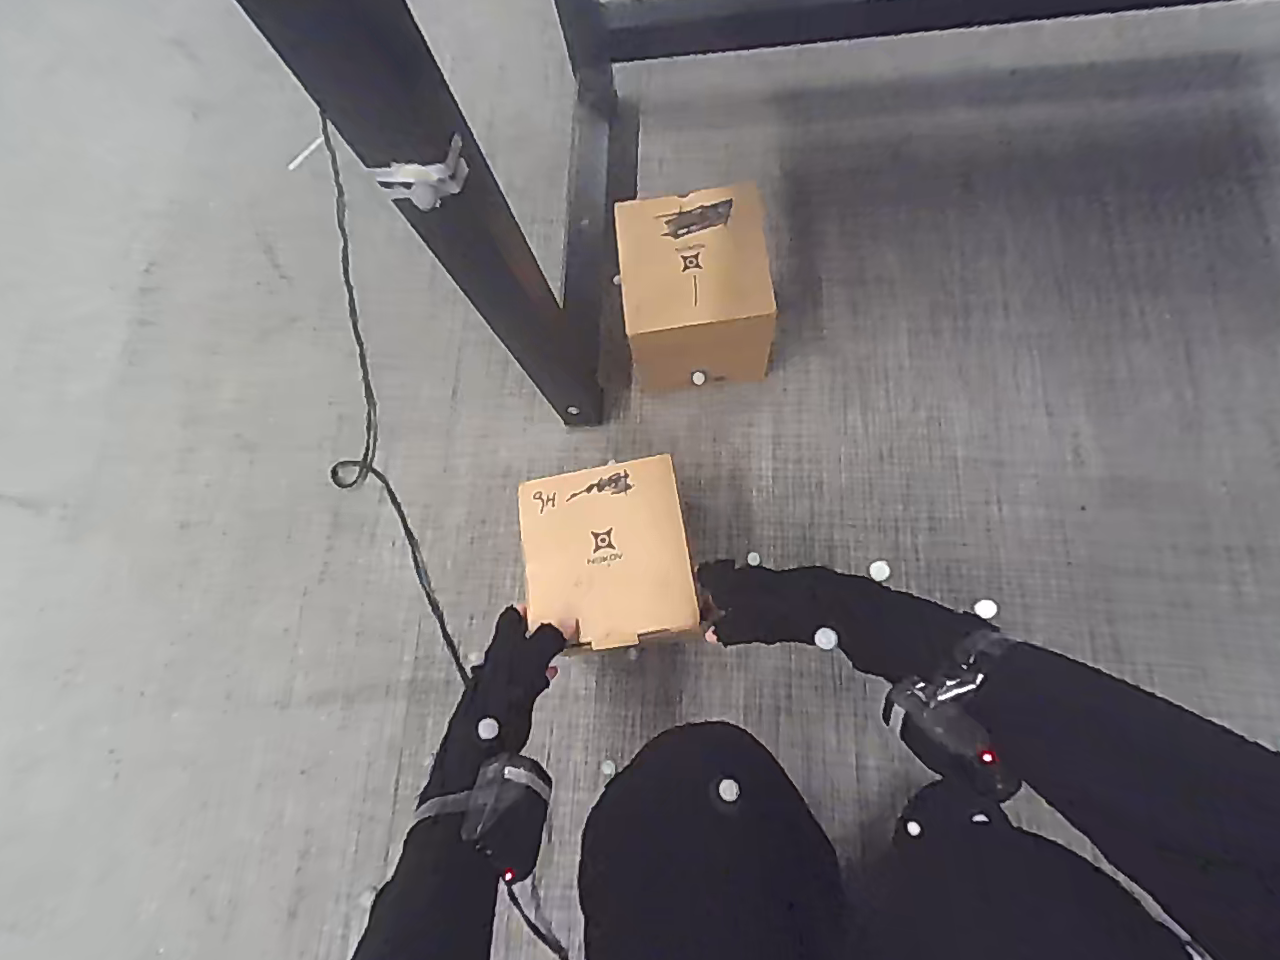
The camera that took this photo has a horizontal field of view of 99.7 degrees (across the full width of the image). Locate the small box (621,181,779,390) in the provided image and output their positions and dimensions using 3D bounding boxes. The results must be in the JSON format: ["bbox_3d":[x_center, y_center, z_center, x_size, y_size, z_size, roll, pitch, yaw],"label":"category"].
[{"bbox_3d":[0.072,-0.234,0.685,0.168,0.176,0.179,-6,75,6],"label":"small box"}]
